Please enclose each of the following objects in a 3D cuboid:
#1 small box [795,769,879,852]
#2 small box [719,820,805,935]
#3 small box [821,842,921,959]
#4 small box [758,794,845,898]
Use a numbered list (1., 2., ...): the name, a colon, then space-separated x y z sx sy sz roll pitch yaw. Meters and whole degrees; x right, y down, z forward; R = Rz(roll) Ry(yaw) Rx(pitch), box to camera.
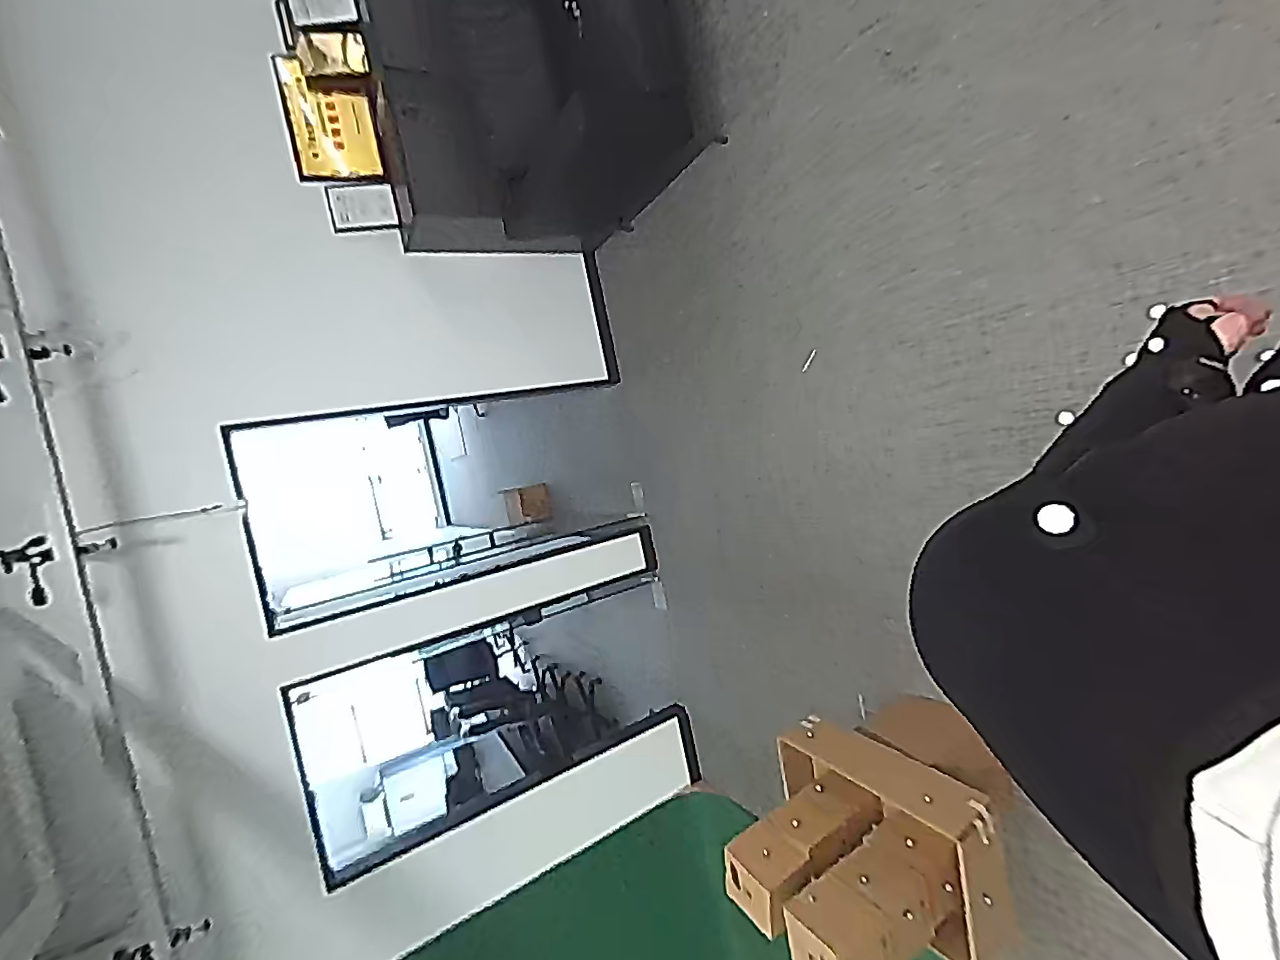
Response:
1. small box: 0.617 1.045 1.699 0.179 0.176 0.168 -2 100 58
2. small box: 0.344 1.111 1.532 0.179 0.176 0.168 13 112 55
3. small box: 0.605 1.090 1.405 0.179 0.176 0.168 -5 96 61
4. small box: 0.483 1.076 1.613 0.179 0.176 0.168 -3 98 58
